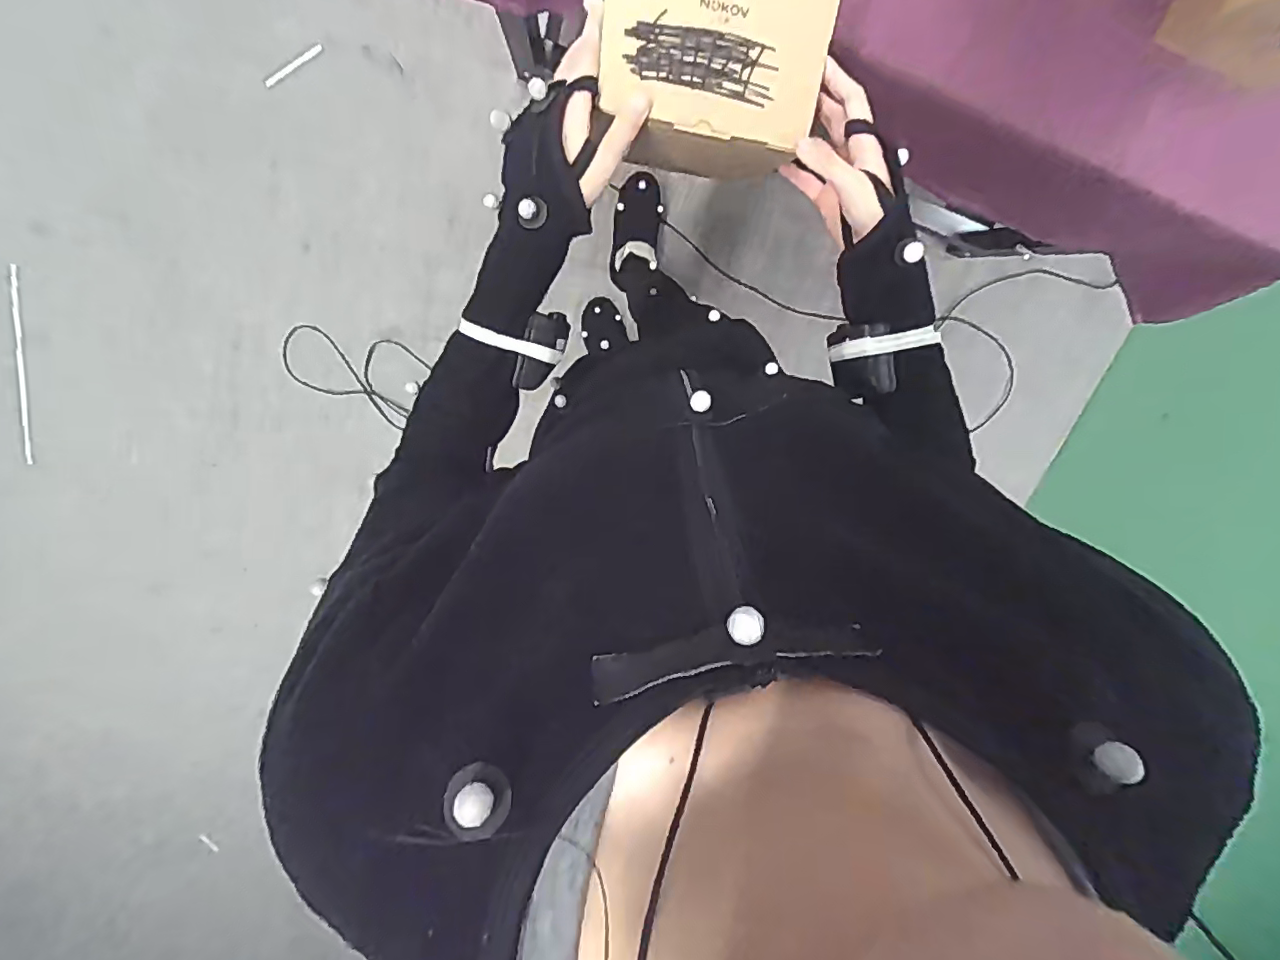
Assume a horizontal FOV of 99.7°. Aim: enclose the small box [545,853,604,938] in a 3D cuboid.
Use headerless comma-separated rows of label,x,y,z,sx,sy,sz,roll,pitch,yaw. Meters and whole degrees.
small box,-0.234,1.489,1.938,0.168,0.176,0.179,16,107,-13
